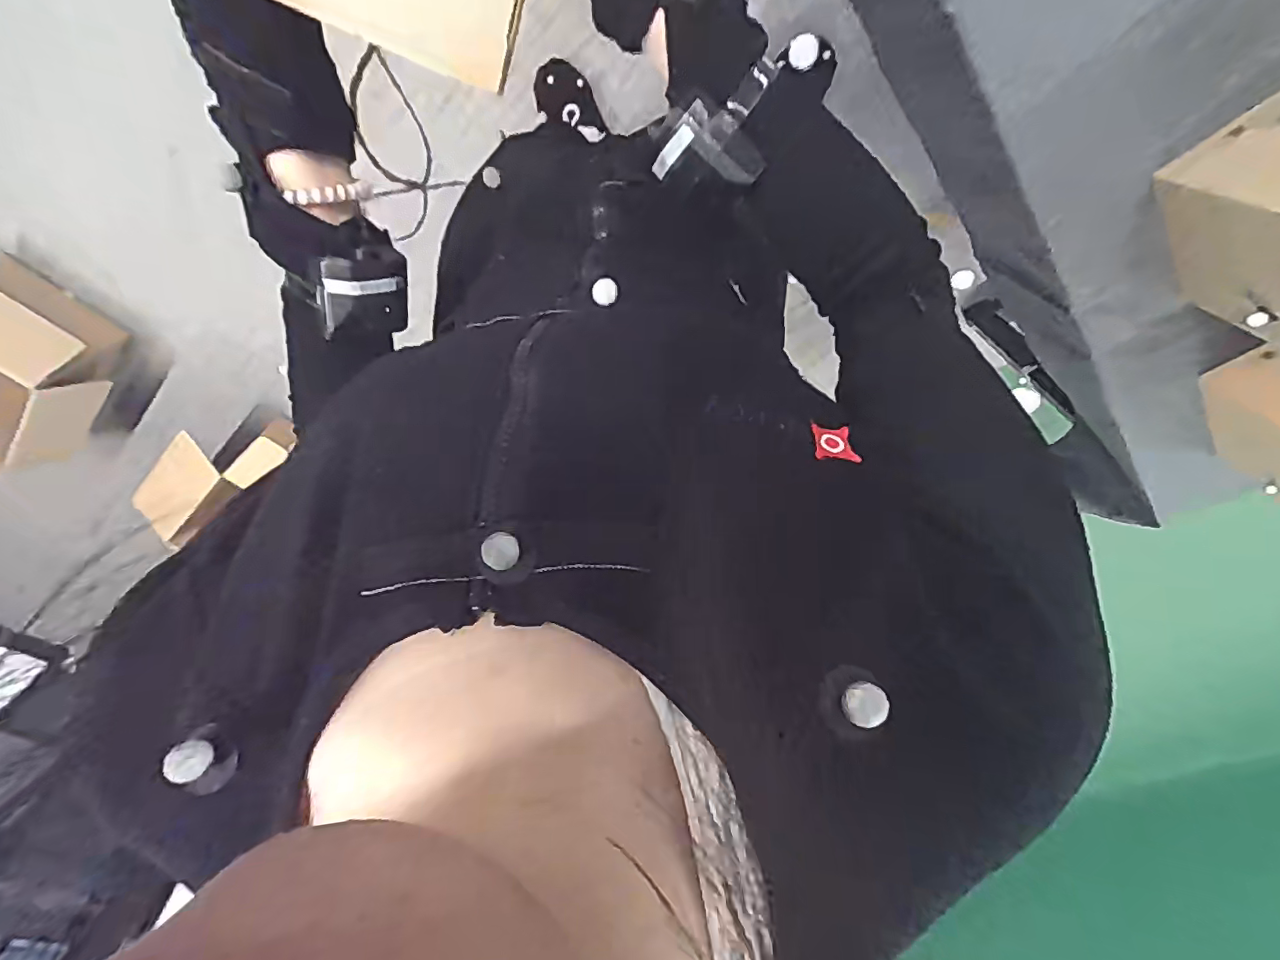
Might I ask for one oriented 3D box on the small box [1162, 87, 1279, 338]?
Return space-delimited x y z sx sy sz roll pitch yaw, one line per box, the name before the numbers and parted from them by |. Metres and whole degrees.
small box | 0.644 -0.259 0.497 0.168 0.176 0.179 -34 121 26
